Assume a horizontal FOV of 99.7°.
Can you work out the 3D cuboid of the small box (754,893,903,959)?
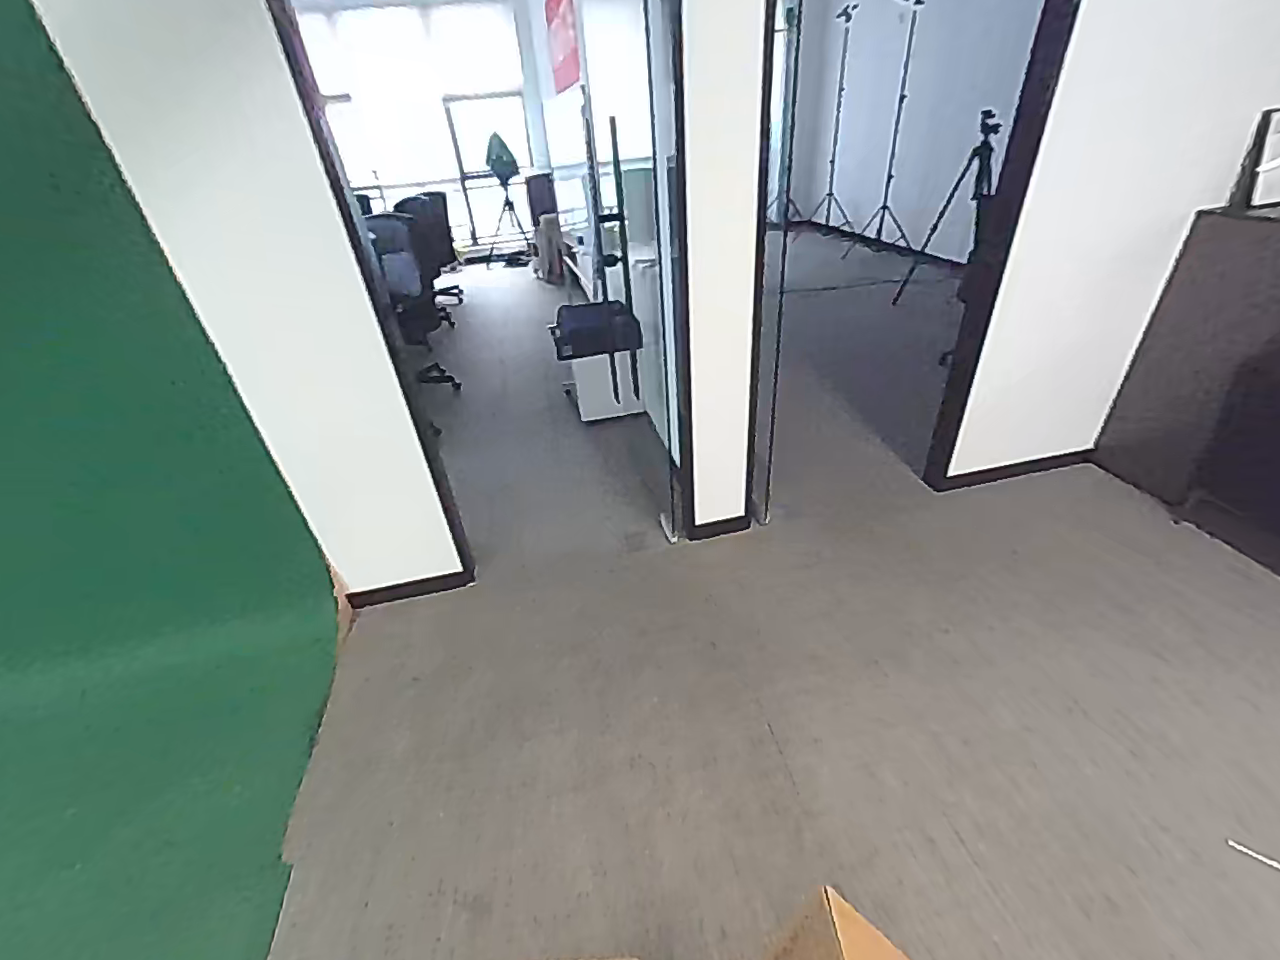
[{"bbox_3d":[0.167,0.472,0.401,0.179,0.176,0.168,37,90,13],"label":"small box"}]
